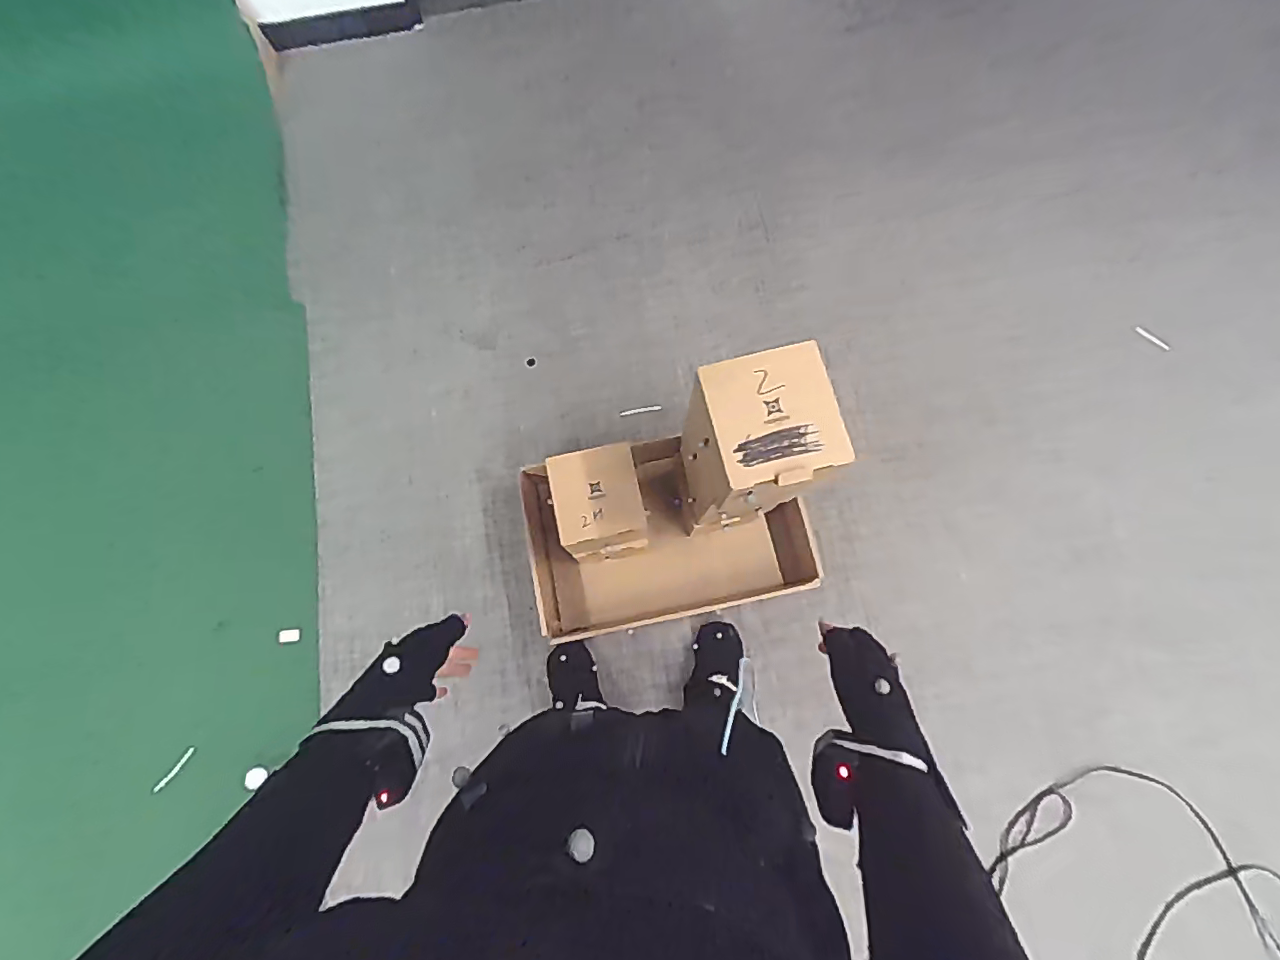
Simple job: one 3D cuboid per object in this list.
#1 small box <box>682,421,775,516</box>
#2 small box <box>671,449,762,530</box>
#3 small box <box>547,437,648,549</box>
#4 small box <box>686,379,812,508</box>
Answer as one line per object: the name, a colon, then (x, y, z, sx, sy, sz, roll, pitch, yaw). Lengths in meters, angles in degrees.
small box: (0.182, -0.028, 1.085, 0.168, 0.176, 0.179, -12, 78, -1)
small box: (0.173, 0.014, 1.262, 0.168, 0.176, 0.179, -16, 78, -1)
small box: (-0.083, 0.033, 1.091, 0.168, 0.176, 0.179, -12, 78, -3)
small box: (0.178, -0.052, 0.940, 0.168, 0.176, 0.179, -11, 78, -2)
